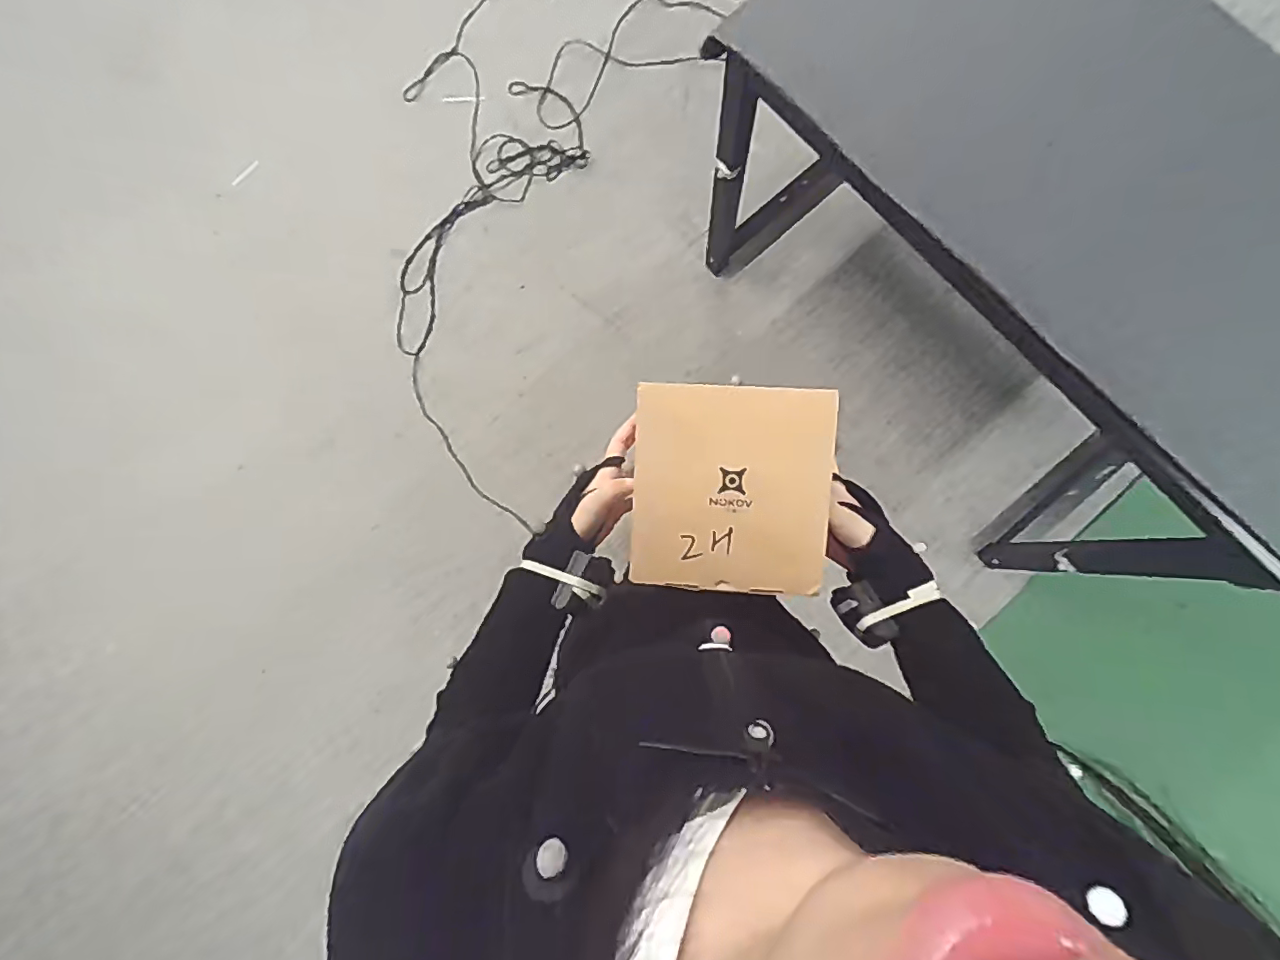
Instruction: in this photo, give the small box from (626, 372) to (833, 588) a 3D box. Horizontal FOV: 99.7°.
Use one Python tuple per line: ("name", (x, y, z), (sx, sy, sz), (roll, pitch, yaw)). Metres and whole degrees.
("small box", (0.079, -0.008, 0.536), (0.168, 0.176, 0.179), (4, 97, 5))
